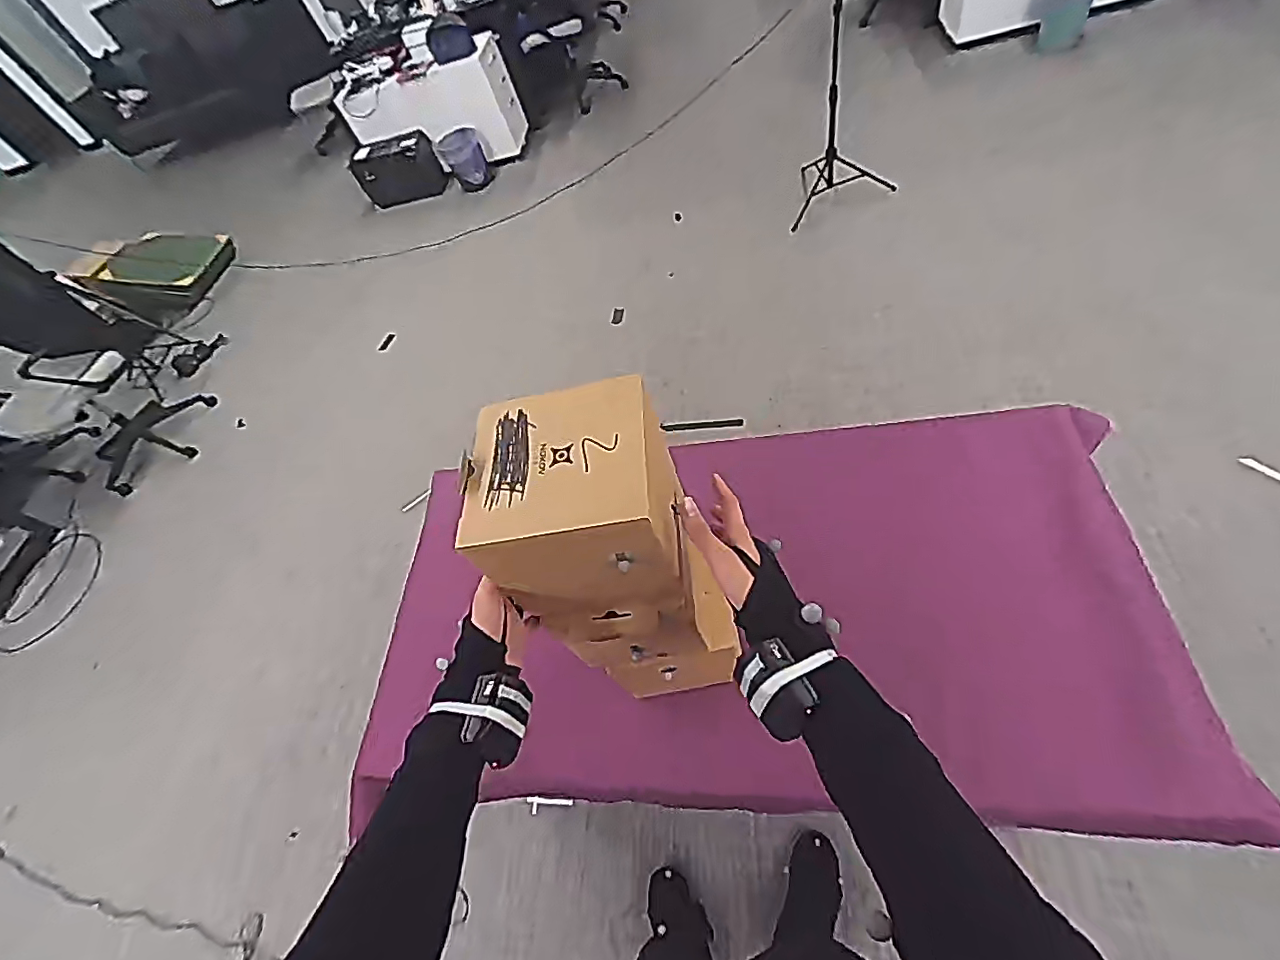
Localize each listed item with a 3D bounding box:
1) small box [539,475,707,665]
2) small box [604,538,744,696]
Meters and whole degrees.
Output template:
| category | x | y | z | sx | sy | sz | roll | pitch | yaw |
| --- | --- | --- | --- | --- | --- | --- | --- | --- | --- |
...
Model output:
| category | x | y | z | sx | sy | sz | roll | pitch | yaw |
| --- | --- | --- | --- | --- | --- | --- | --- | --- | --- |
| small box | -0.012 | 0.119 | 0.686 | 0.168 | 0.176 | 0.179 | -10 | 55 | 12 |
| small box | 0.048 | 0.212 | 0.810 | 0.179 | 0.176 | 0.168 | -13 | 55 | 7 |
